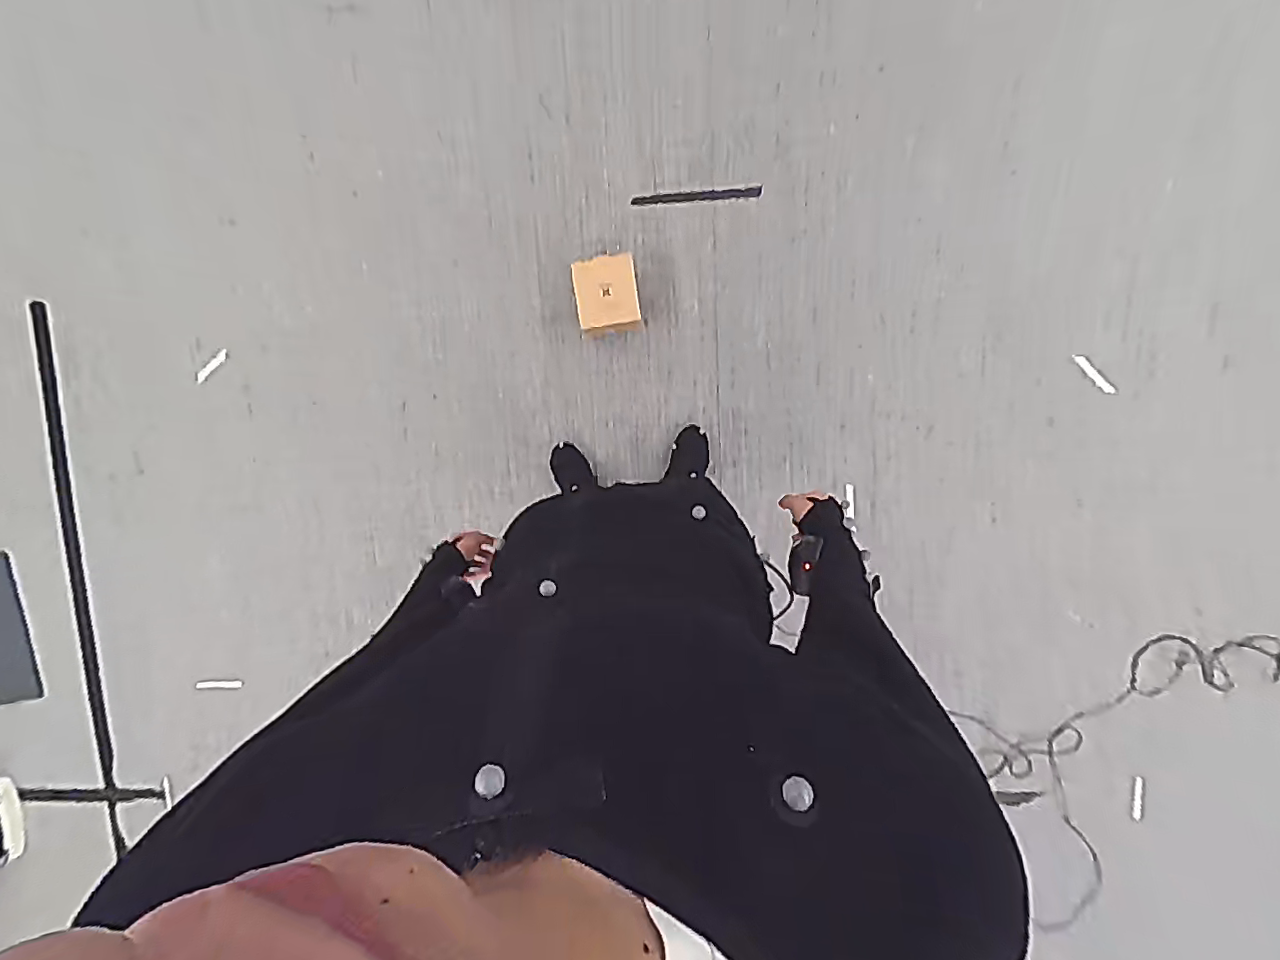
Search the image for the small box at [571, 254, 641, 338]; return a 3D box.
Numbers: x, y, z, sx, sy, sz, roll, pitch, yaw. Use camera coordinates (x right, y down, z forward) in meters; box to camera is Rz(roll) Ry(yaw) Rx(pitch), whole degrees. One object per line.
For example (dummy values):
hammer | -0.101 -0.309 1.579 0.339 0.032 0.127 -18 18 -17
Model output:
small box | -0.089 -0.506 1.504 0.168 0.176 0.179 -8 96 3
